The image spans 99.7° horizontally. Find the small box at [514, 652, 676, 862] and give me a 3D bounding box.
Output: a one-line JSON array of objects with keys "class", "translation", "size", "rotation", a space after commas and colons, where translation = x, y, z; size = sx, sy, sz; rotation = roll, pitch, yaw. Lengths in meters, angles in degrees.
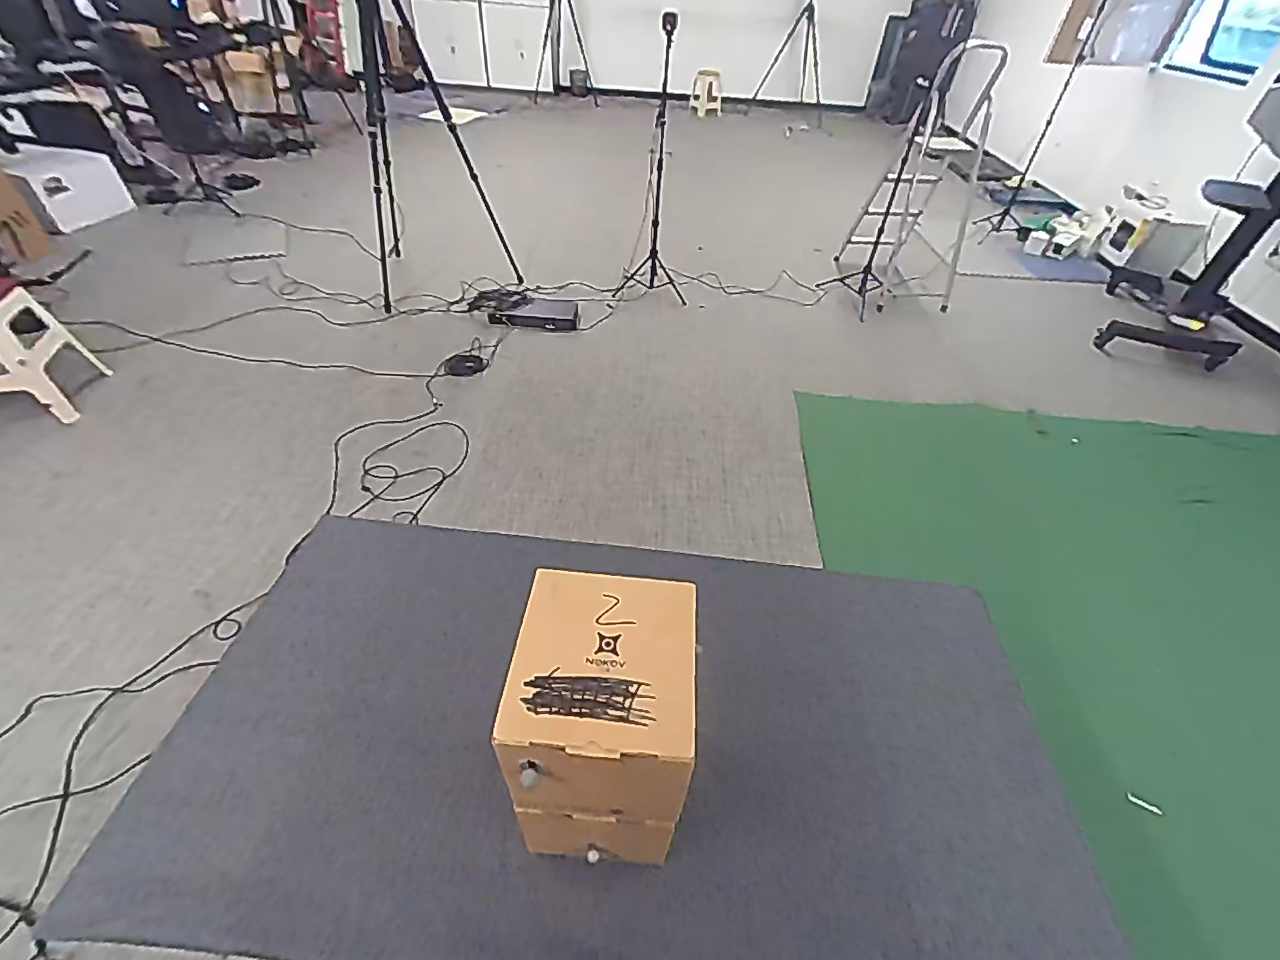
[{"class": "small box", "translation": [-0.048, 0.338, 0.663], "size": [0.168, 0.176, 0.179], "rotation": [5, 44, 1]}]
